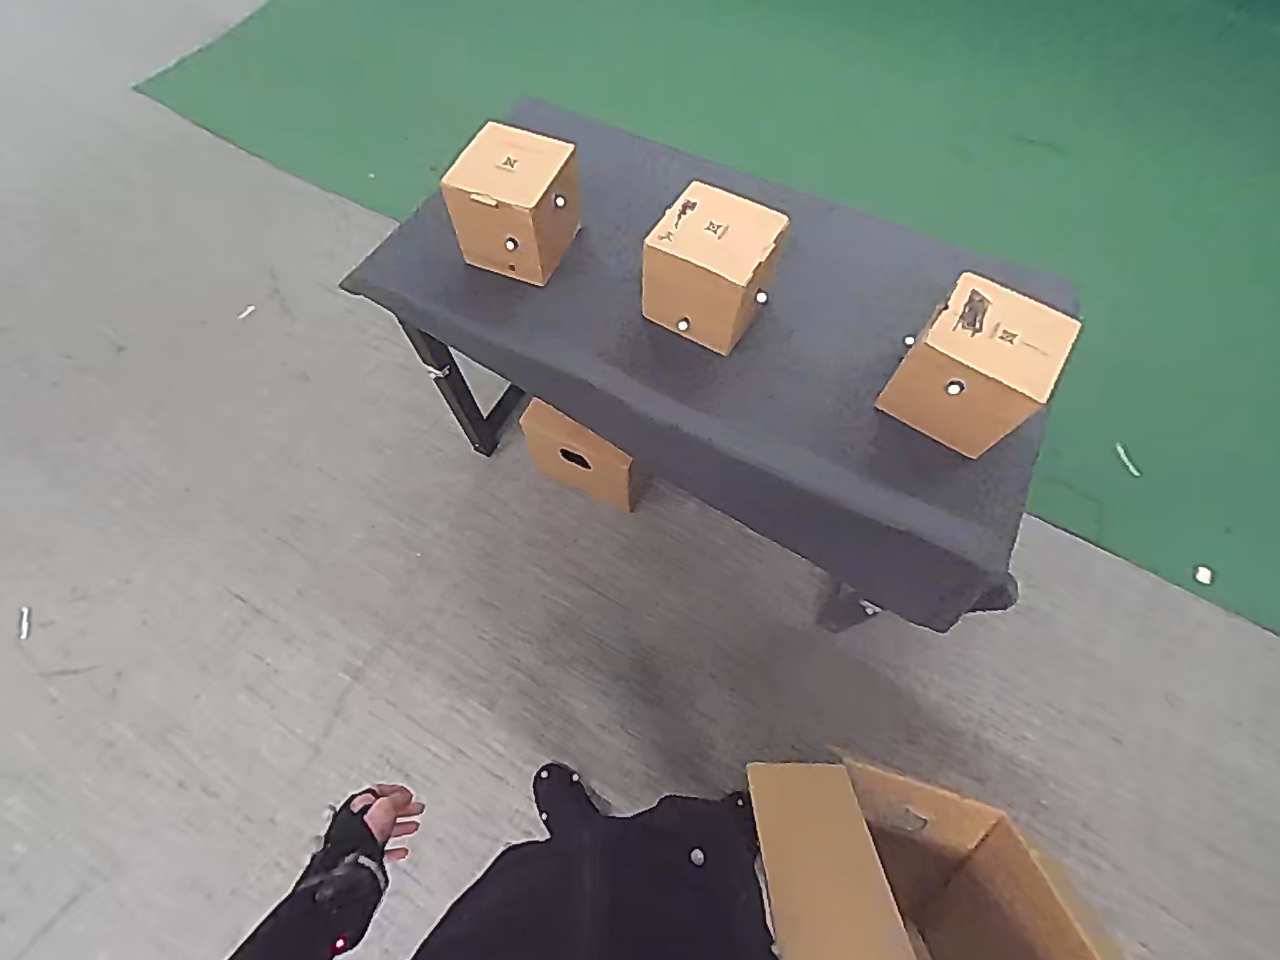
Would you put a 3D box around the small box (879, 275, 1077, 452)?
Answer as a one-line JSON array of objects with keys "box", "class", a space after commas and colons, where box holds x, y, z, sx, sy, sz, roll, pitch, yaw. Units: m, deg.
[{"box": [0.504, -0.170, 0.831, 0.179, 0.176, 0.168, 33, 70, 13], "class": "small box"}]

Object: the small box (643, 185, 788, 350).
[{"box": [0.119, -0.348, 0.913, 0.179, 0.176, 0.168, 29, 68, 12], "class": "small box"}]

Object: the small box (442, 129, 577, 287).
[{"box": [-0.220, -0.483, 0.975, 0.168, 0.176, 0.179, 20, 65, 7], "class": "small box"}]
